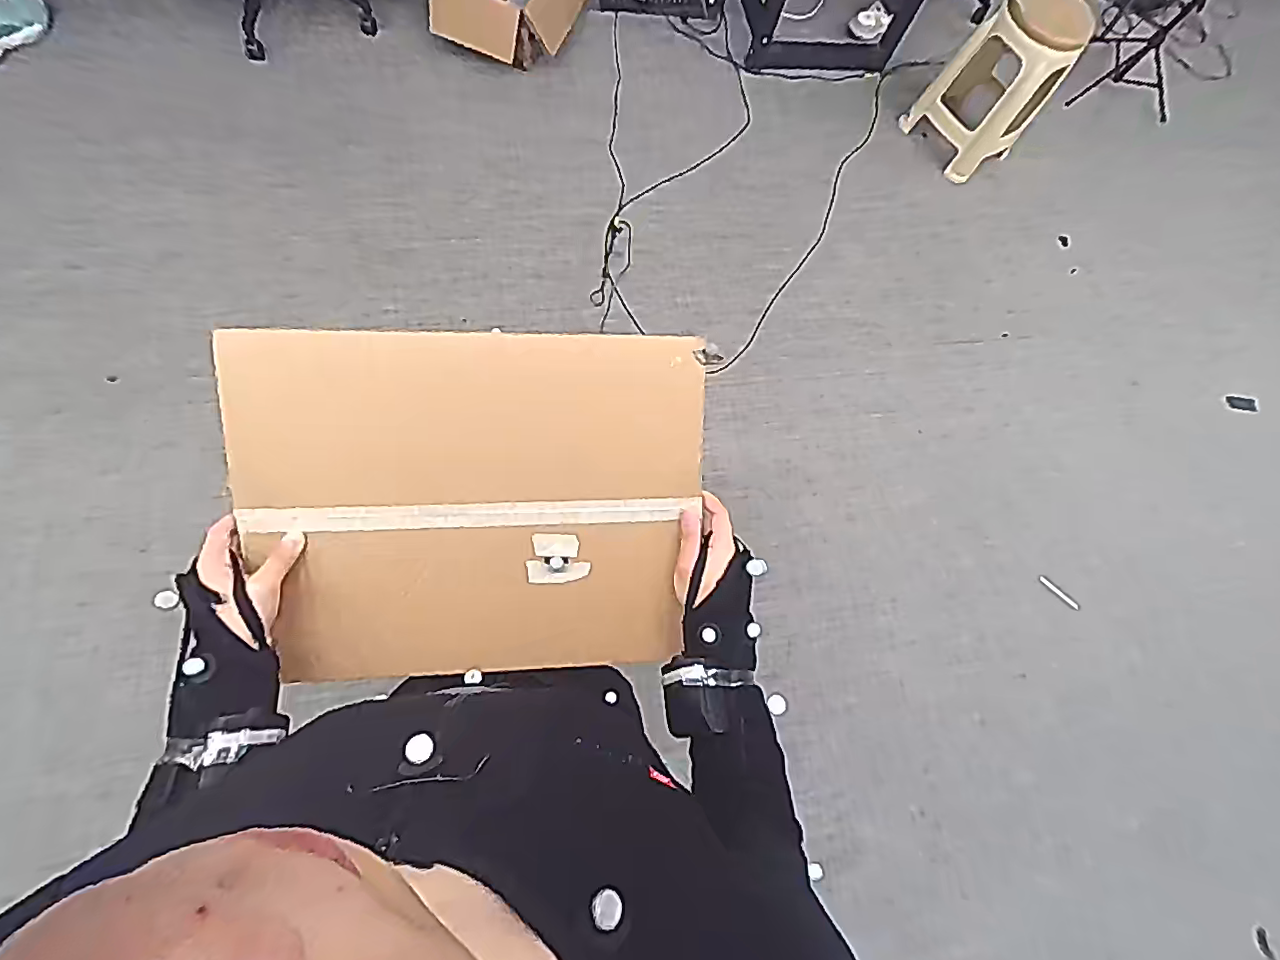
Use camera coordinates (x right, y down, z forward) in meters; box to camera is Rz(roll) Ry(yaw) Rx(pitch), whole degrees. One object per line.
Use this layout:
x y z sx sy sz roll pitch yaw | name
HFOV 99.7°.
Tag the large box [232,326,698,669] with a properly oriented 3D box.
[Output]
-0.164 -0.009 0.647 0.408 0.320 0.320 -2 102 -8 | large box
